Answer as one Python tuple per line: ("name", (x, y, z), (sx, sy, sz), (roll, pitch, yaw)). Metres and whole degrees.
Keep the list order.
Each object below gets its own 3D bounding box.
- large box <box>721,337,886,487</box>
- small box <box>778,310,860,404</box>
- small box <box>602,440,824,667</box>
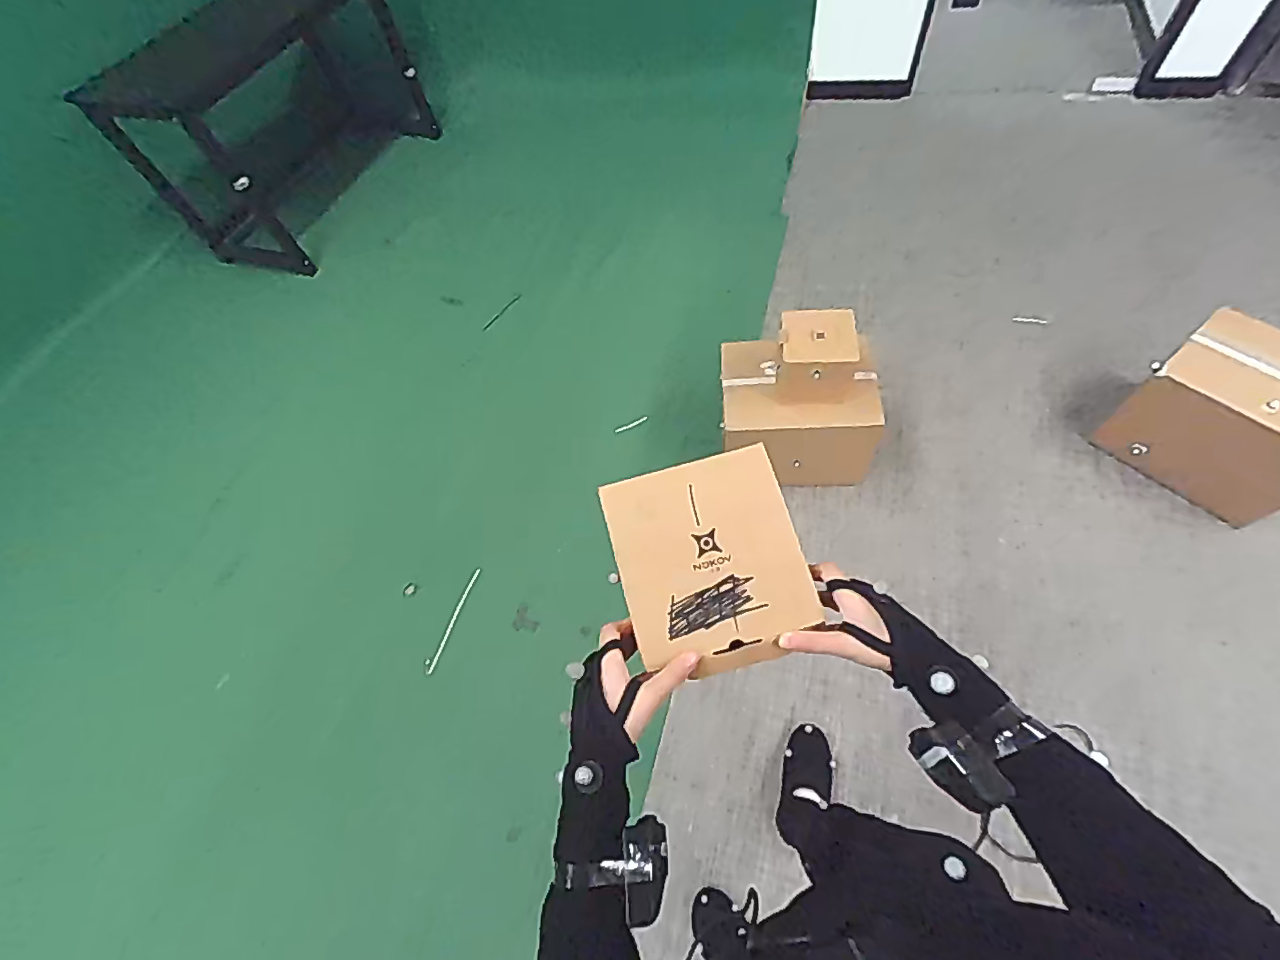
("large box", (0.451, -0.182, 1.581), (0.408, 0.320, 0.320), (-3, 59, 9))
("small box", (0.443, -0.306, 1.367), (0.179, 0.176, 0.168), (1, 62, 9))
("small box", (0.067, 0.083, 0.566), (0.168, 0.176, 0.179), (-15, 73, -2))
